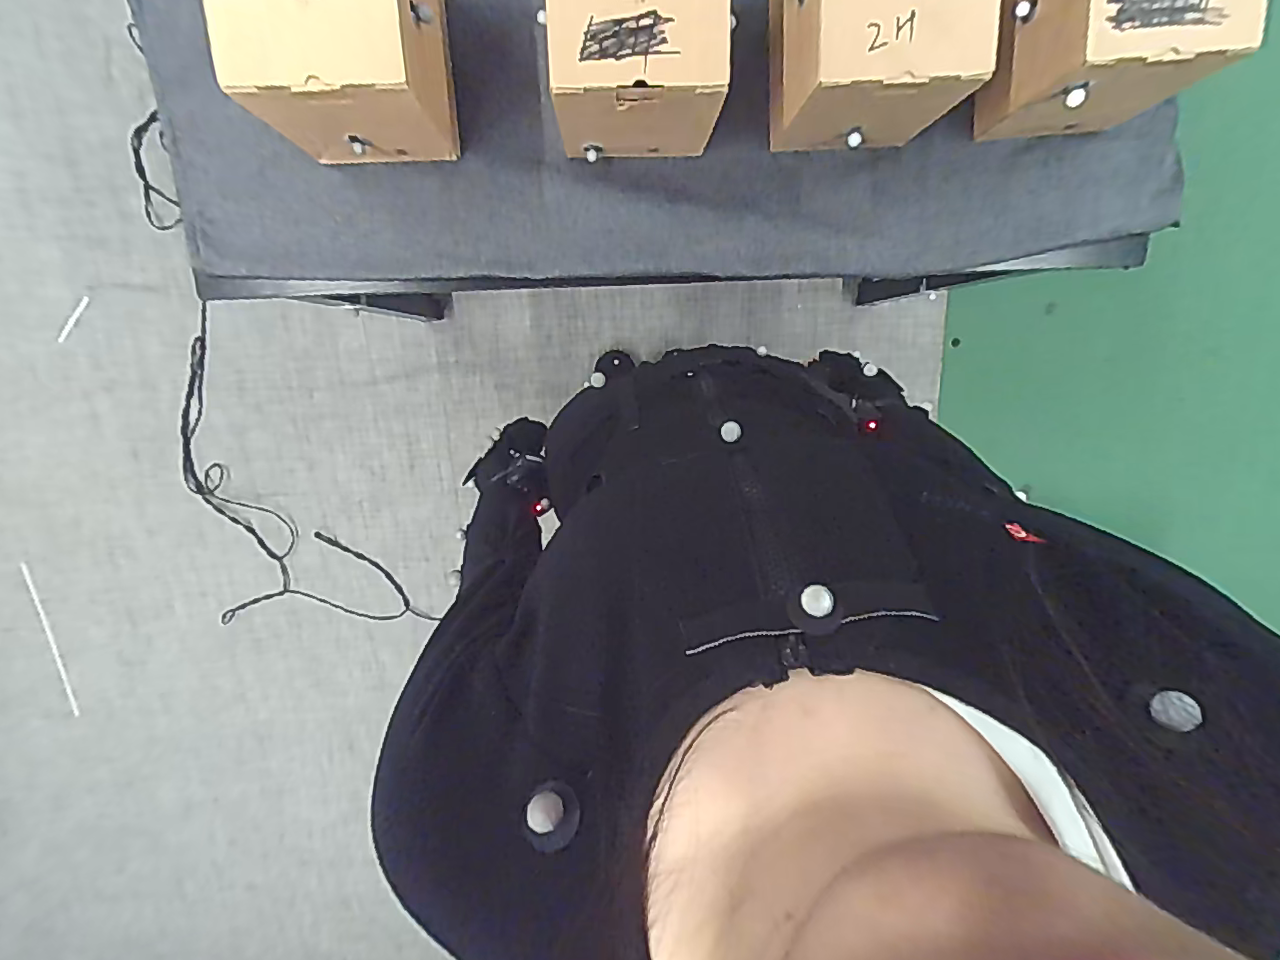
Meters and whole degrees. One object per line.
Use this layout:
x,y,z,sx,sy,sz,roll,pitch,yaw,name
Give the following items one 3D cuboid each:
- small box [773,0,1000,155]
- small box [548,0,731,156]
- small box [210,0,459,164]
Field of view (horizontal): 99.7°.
0.239,-0.466,0.560,0.168,0.176,0.179,-3,102,0,small box
-0.002,-0.452,0.552,0.168,0.176,0.179,-2,102,-2,small box
-0.291,-0.444,0.541,0.168,0.176,0.179,-3,101,-3,small box
